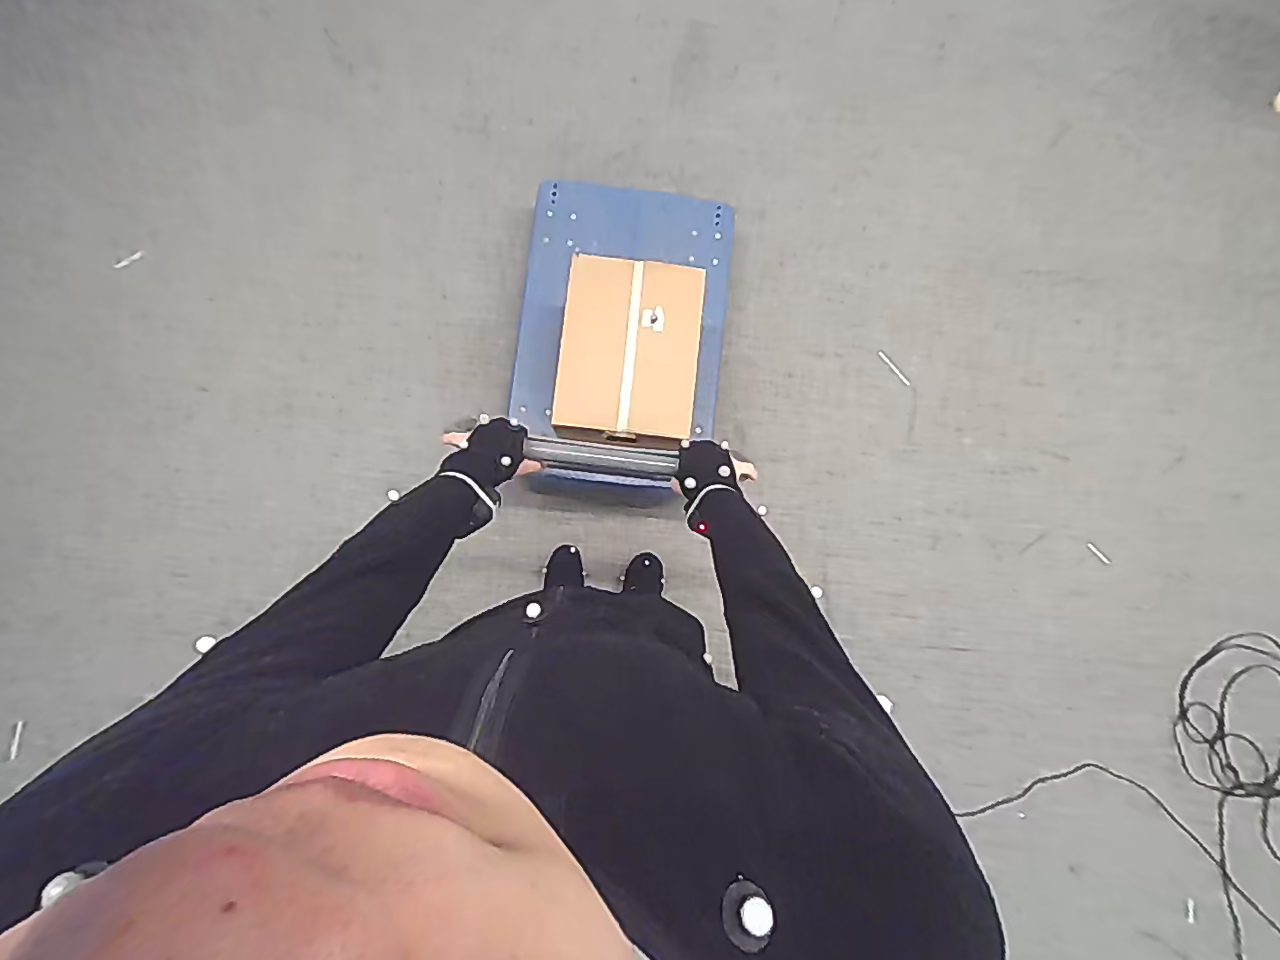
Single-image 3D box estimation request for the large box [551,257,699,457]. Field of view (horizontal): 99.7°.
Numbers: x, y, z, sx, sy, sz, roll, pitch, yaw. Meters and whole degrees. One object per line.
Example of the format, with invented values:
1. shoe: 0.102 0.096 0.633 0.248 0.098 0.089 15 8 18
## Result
1. large box: -0.036 -0.287 1.371 0.320 0.320 0.408 6 83 -3
